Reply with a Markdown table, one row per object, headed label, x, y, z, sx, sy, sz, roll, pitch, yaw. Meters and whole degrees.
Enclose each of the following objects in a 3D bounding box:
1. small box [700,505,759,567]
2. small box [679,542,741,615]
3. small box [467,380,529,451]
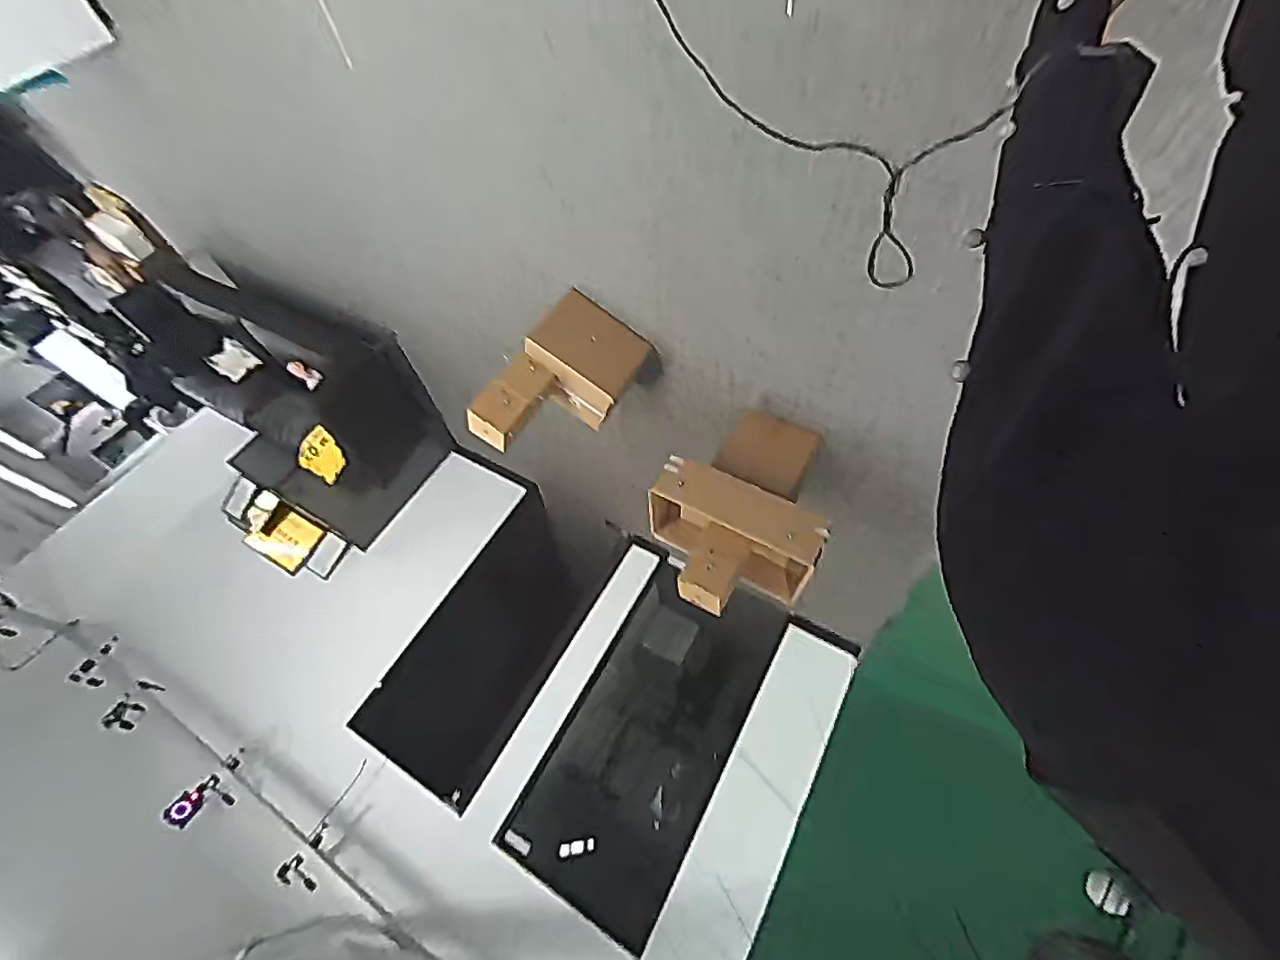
| label | x | y | z | sx | sy | sz | roll | pitch | yaw |
| --- | --- | --- | --- | --- | --- | --- | --- | --- | --- |
| small box | 0.331 | 0.224 | 2.009 | 0.168 | 0.176 | 0.179 | 24 | 153 | 18 |
| small box | 0.252 | 0.348 | 1.937 | 0.168 | 0.176 | 0.179 | 24 | 152 | 21 |
| small box | -0.541 | -0.249 | 2.080 | 0.168 | 0.176 | 0.179 | 34 | 155 | 1 |
